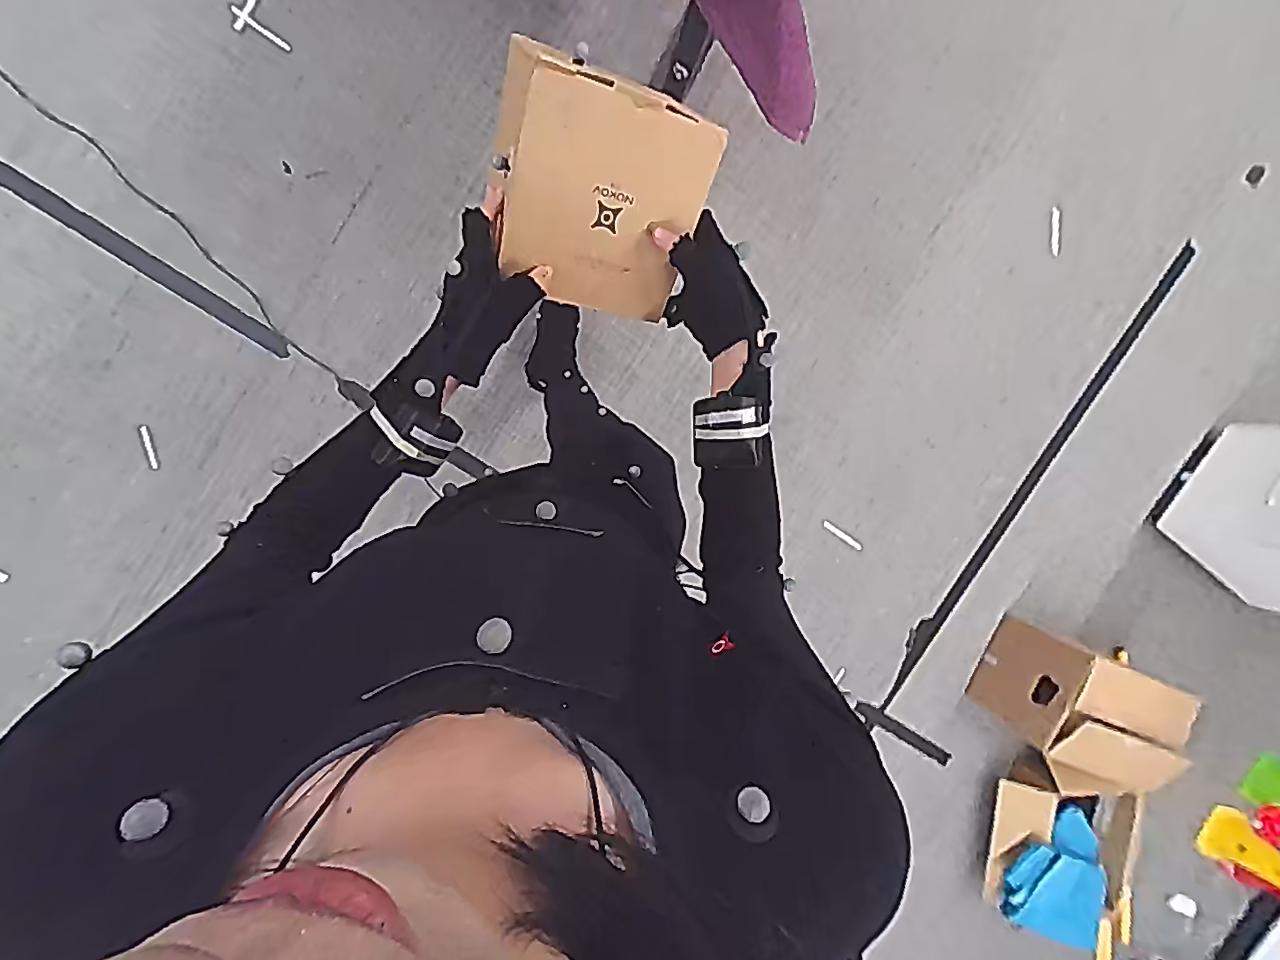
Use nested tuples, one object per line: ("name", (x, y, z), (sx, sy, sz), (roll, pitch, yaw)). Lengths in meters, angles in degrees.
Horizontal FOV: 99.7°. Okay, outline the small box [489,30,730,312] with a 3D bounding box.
("small box", (-0.046, -0.292, 0.515), (0.168, 0.176, 0.179), (5, 129, -24))
